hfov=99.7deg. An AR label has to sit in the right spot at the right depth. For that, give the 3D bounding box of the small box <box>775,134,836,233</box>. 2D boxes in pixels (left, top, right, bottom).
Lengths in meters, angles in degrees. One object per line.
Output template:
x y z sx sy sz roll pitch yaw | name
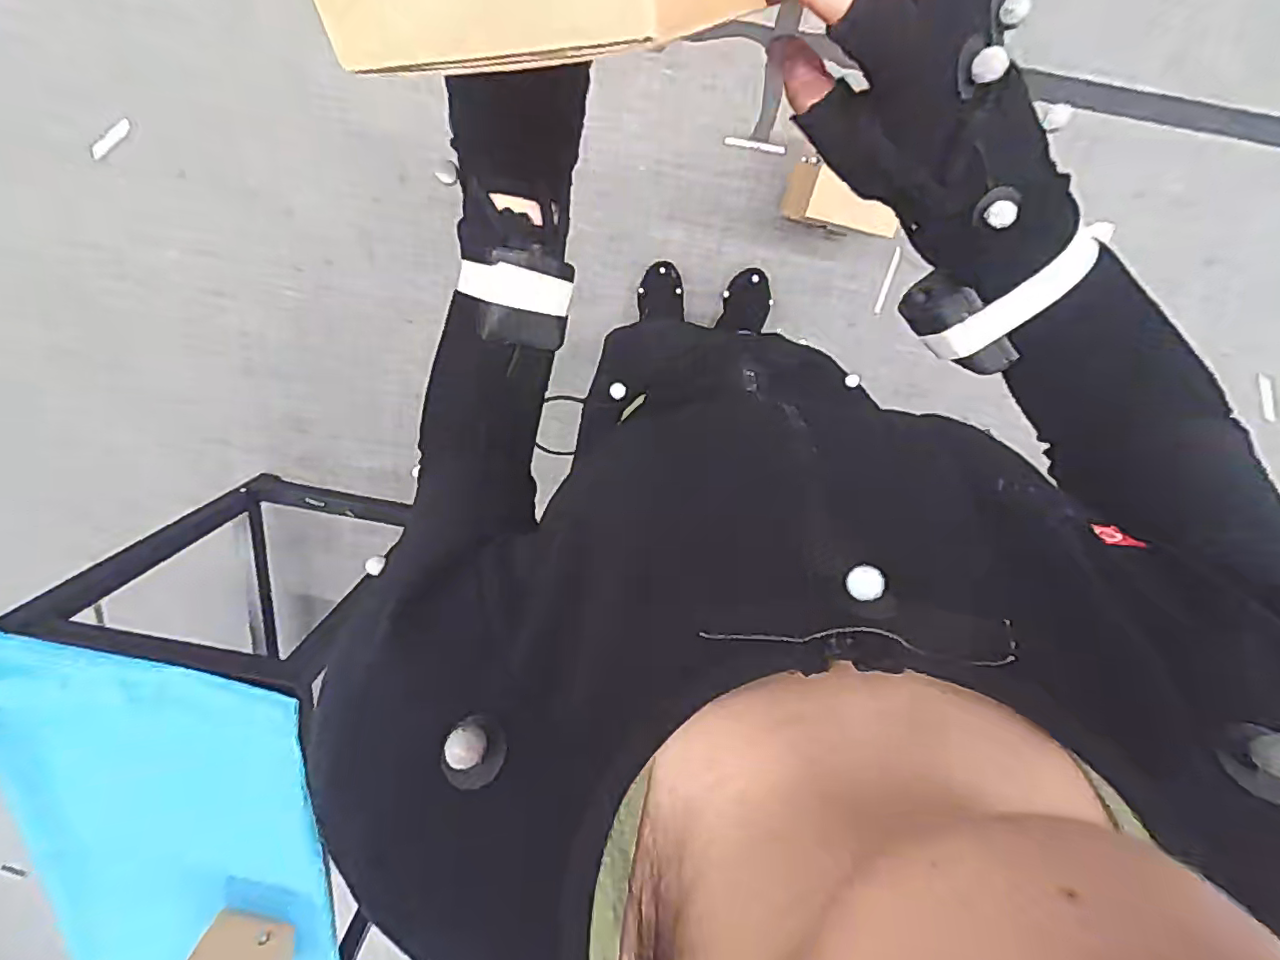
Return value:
0.413 -0.640 1.169 0.179 0.176 0.168 14 113 -4 | small box

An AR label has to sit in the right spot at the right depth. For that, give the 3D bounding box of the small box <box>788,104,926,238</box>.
0.394 -0.572 1.022 0.168 0.176 0.179 15 115 -2 | small box

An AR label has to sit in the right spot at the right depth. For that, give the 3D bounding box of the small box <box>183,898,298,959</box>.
-0.915 1.105 1.228 0.179 0.176 0.168 15 113 -3 | small box

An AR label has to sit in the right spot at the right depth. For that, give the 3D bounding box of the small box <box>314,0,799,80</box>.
-0.032 -0.268 0.196 0.179 0.168 0.176 21 143 30 | small box
